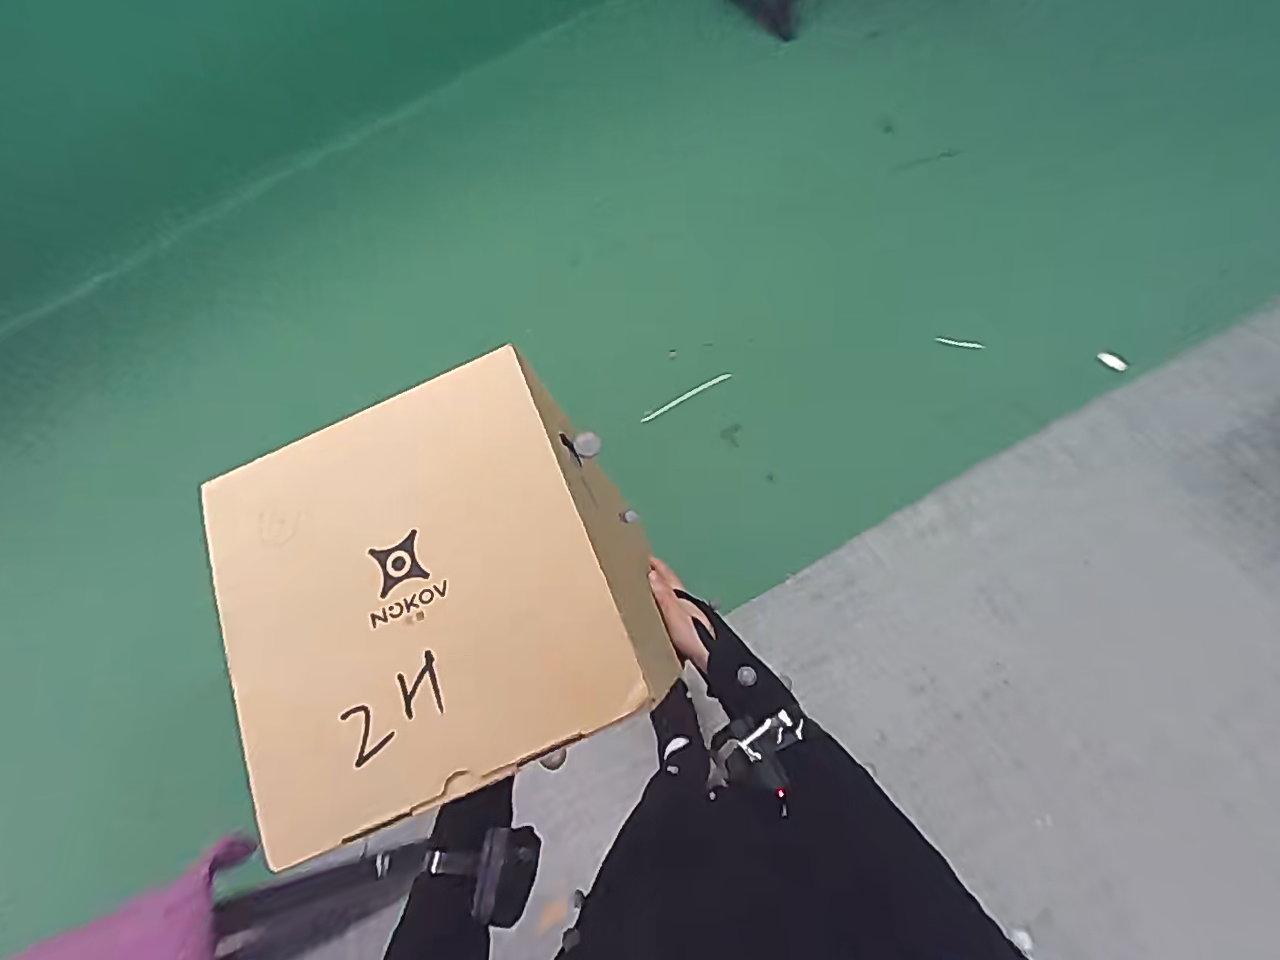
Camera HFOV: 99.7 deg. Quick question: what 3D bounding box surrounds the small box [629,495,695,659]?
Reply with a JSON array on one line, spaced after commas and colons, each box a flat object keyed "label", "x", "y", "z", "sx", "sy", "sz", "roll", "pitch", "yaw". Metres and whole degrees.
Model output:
[{"label": "small box", "x": -0.041, "y": 0.139, "z": 0.623, "sx": 0.168, "sy": 0.176, "sz": 0.179, "roll": -22, "pitch": 74, "yaw": 1}]

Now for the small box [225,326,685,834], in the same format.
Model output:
[{"label": "small box", "x": -0.082, "y": 0.053, "z": 0.307, "sx": 0.168, "sy": 0.176, "sz": 0.179, "roll": -22, "pitch": 73, "yaw": 2}]
